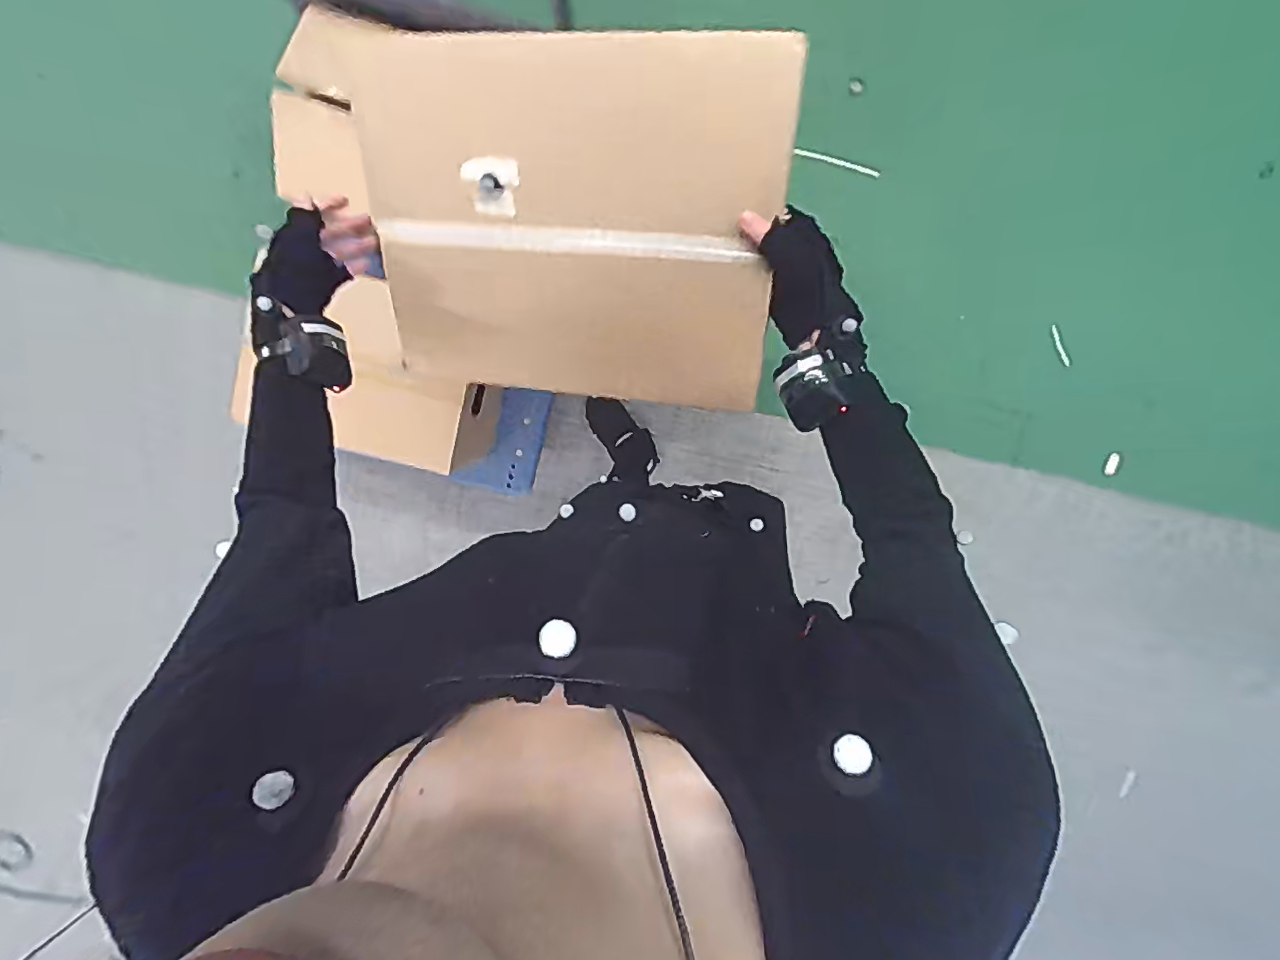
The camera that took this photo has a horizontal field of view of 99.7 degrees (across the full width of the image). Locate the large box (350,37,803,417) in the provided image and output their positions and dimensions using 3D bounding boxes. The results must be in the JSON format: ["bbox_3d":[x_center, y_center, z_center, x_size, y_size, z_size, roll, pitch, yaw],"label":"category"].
[{"bbox_3d":[-0.033,-0.293,0.641,0.408,0.320,0.320,8,120,12],"label":"large box"}]
